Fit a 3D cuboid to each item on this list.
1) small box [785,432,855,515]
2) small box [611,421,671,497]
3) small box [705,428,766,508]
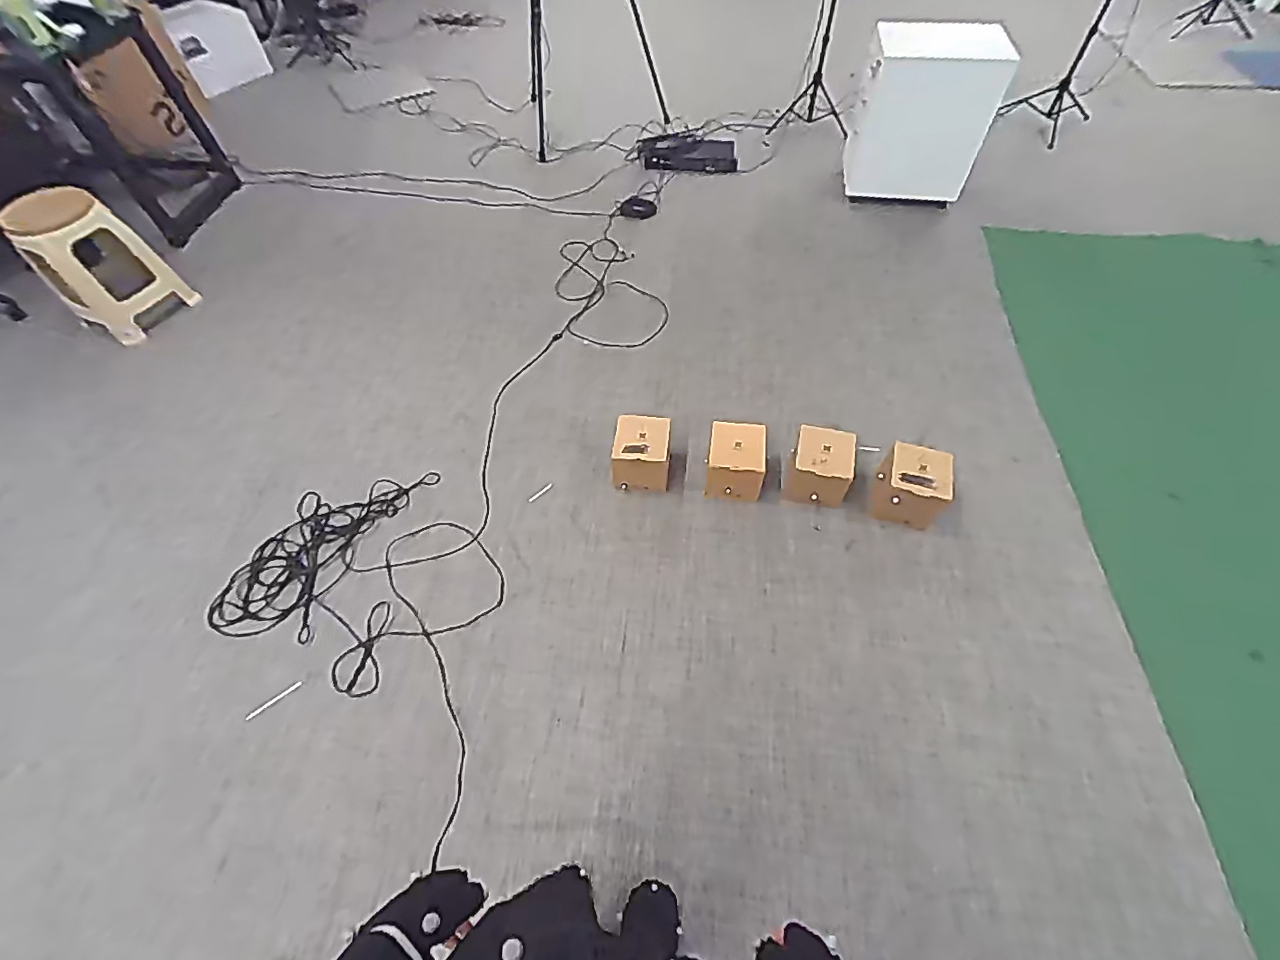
[{"bbox_3d":[0.551,-0.018,1.667,0.168,0.176,0.179,12,57,11],"label":"small box"},{"bbox_3d":[0.008,-0.063,1.715,0.168,0.176,0.179,5,54,5],"label":"small box"},{"bbox_3d":[0.296,-0.036,1.689,0.168,0.176,0.179,6,56,6],"label":"small box"}]
